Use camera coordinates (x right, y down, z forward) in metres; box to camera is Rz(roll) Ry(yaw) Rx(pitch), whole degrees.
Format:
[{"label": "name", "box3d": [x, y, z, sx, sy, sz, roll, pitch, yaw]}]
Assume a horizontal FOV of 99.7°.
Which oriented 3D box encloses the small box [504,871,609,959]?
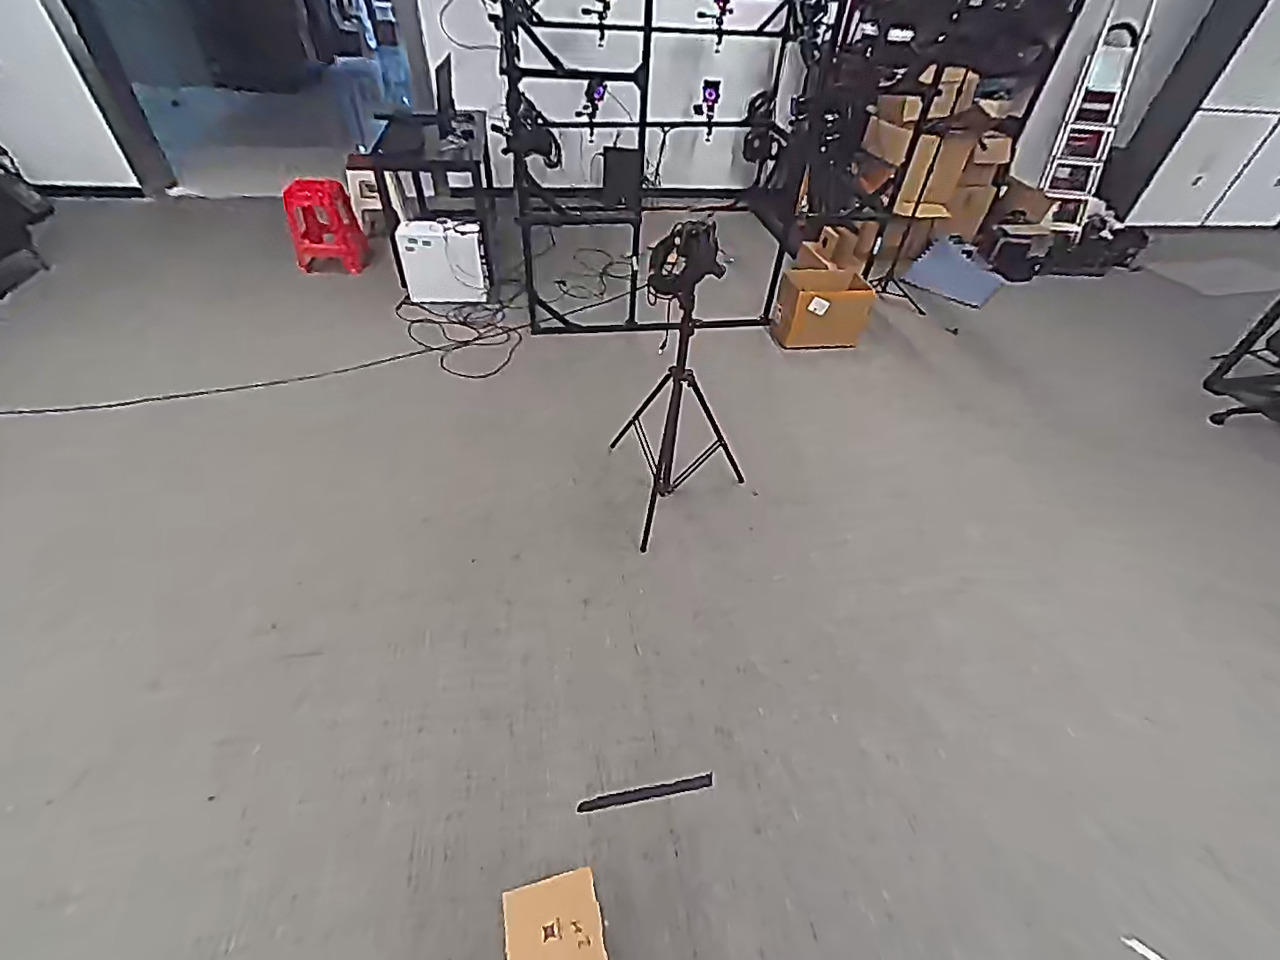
[{"label": "small box", "box3d": [-0.156, 0.890, 1.040, 0.179, 0.176, 0.168, -9, 45, -12]}]
